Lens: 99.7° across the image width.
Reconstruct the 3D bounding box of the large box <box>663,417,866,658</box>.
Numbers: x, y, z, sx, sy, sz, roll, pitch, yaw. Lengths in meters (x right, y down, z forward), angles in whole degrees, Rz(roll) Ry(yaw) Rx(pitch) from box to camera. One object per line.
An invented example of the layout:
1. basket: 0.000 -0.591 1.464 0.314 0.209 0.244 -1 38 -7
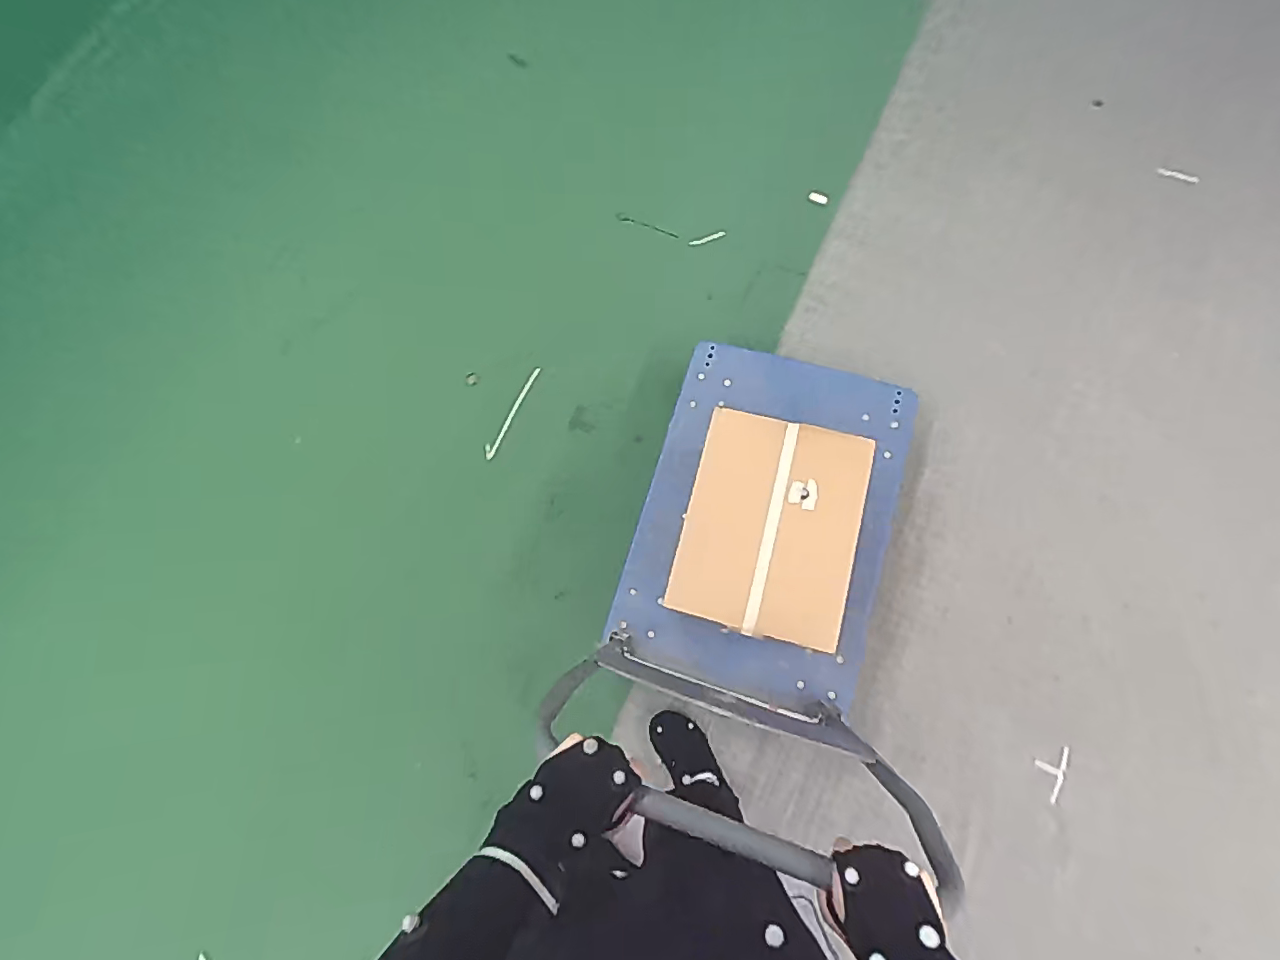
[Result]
1. large box: 0.251 0.131 1.153 0.320 0.320 0.408 14 78 9
